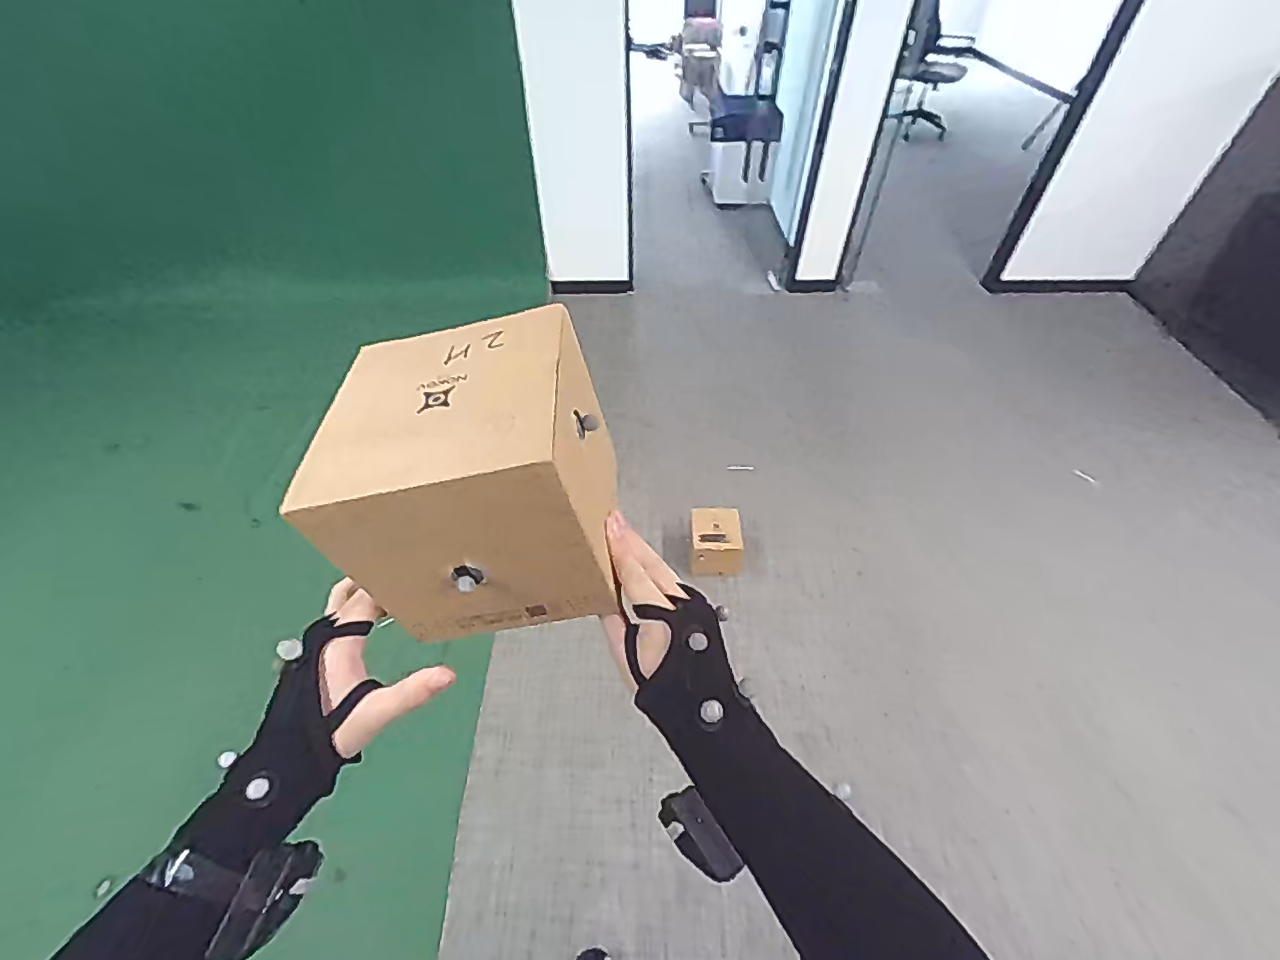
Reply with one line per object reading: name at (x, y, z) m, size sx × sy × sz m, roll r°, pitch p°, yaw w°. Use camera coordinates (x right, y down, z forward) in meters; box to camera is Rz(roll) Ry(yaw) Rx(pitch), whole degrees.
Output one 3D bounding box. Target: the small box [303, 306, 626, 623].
small box at (-0.108, -0.004, 0.423) m, size 0.168 × 0.176 × 0.179 m, roll -10°, pitch 45°, yaw 6°
